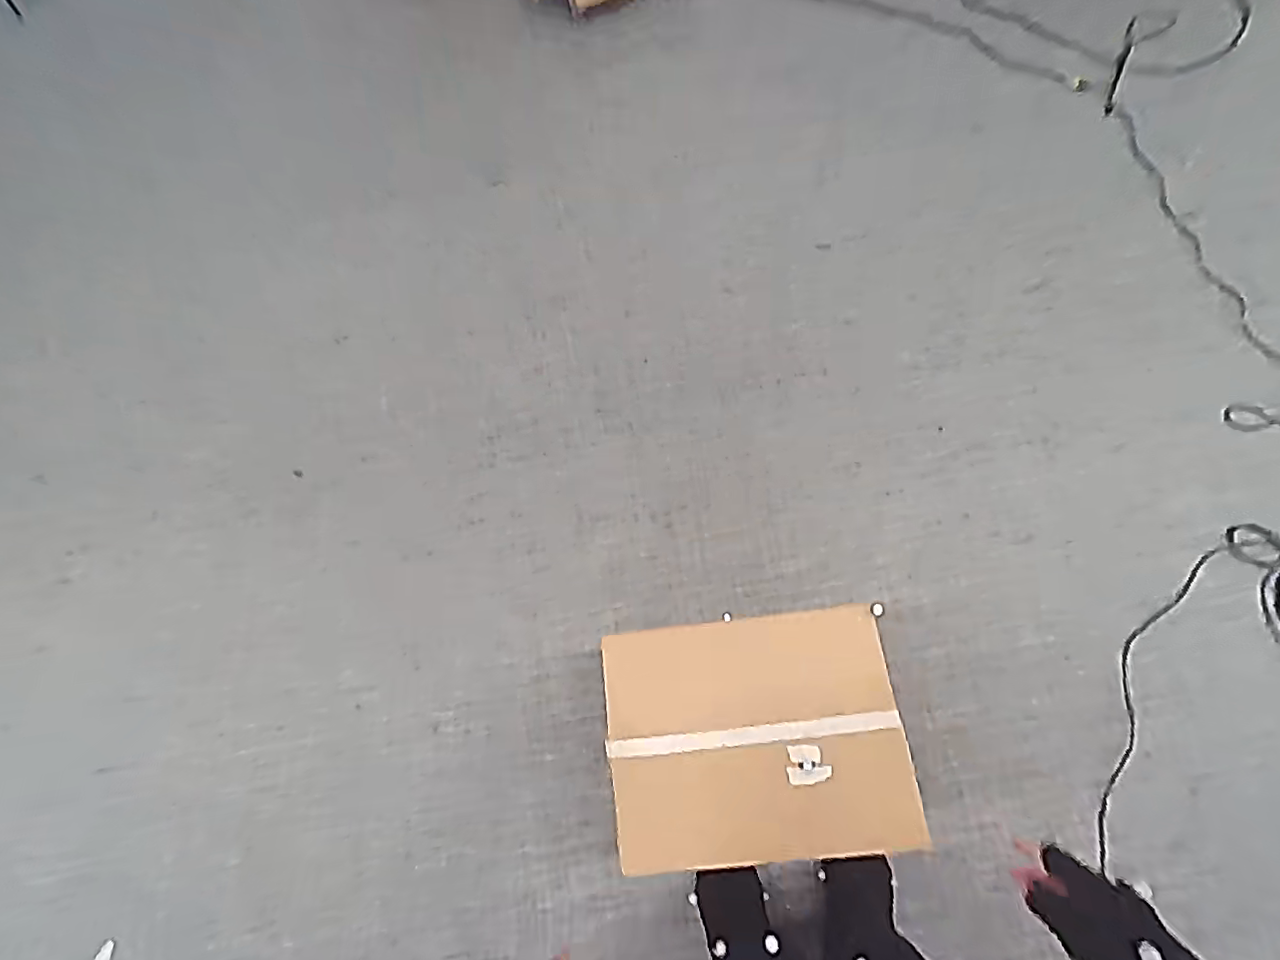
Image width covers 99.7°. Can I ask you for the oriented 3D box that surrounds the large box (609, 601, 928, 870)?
[{"bbox_3d":[0.182,0.403,0.908,0.408,0.320,0.320,-9,71,4],"label":"large box"}]
